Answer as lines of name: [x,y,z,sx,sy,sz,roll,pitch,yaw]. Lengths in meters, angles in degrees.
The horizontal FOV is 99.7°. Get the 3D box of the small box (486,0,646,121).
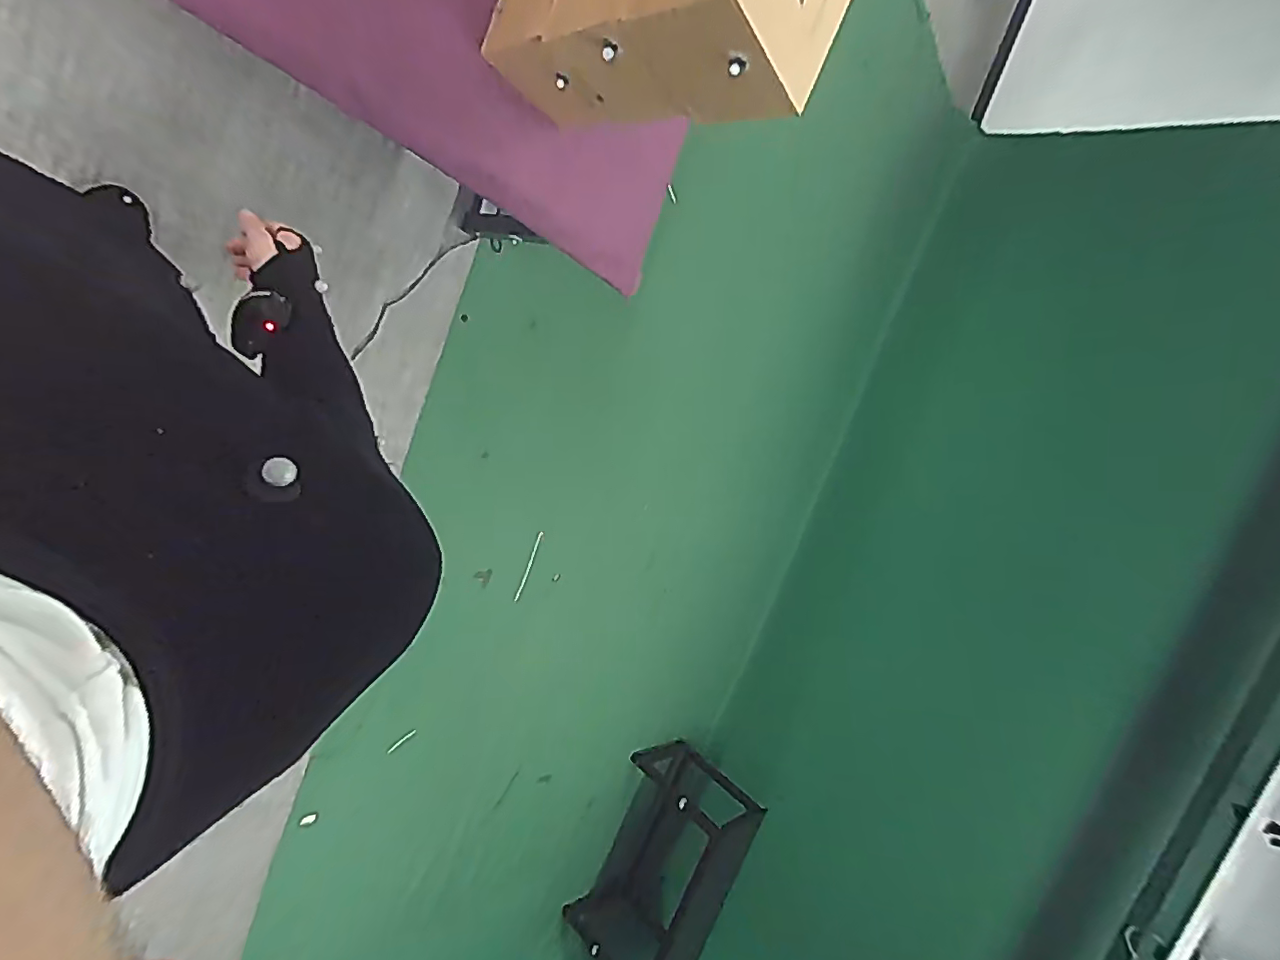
small box: [-0.108,-0.689,0.835,0.179,0.176,0.168,16,99,-50]

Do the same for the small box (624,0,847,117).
small box: [0.111,-0.557,0.629,0.179,0.176,0.168,19,97,-50]
